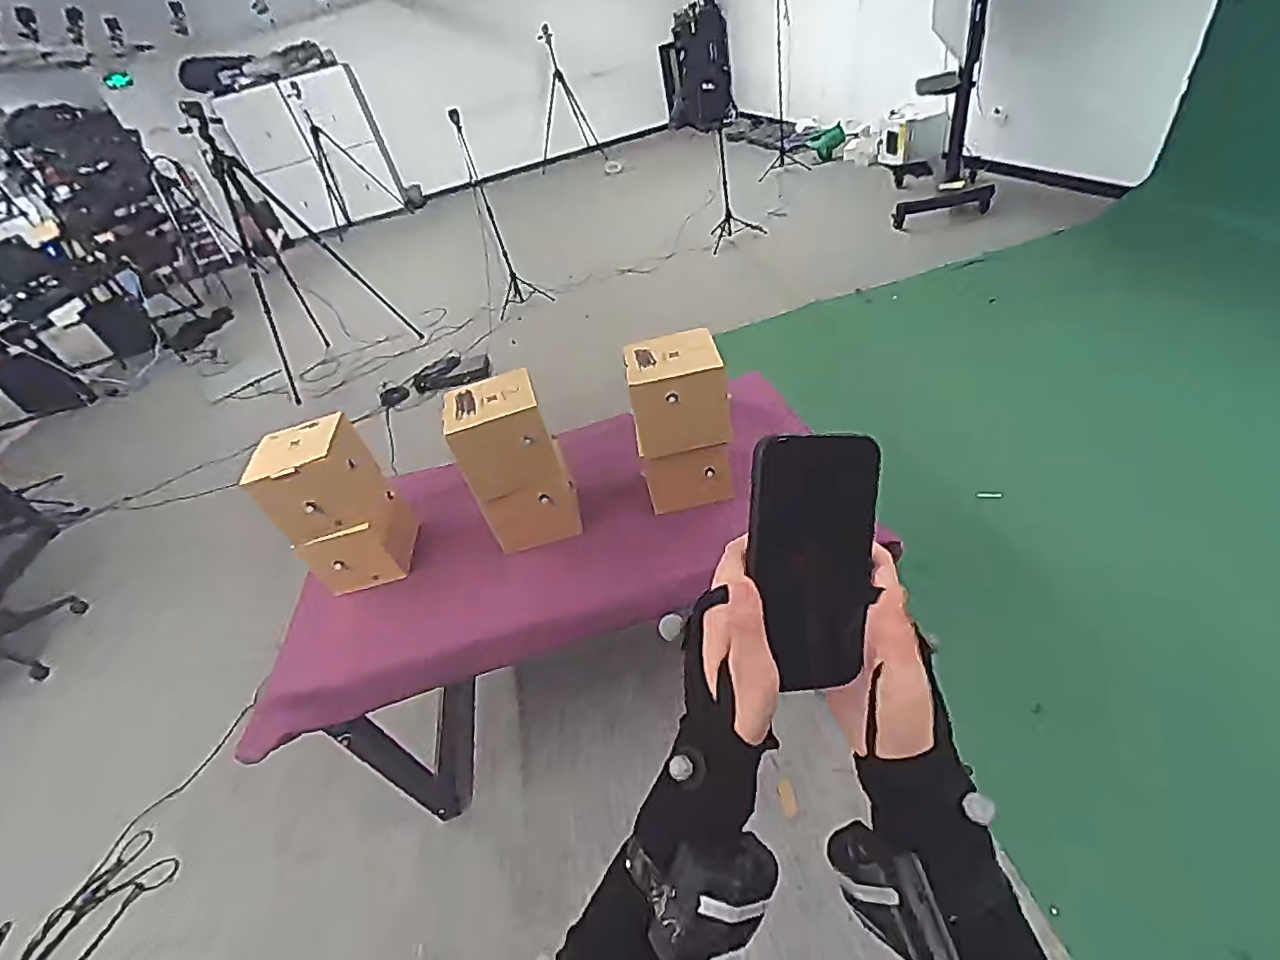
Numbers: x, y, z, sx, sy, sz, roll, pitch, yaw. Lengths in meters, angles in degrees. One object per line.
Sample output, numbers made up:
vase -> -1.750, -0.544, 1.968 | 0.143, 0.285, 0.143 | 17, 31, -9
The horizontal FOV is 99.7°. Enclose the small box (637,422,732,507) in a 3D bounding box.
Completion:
small box -> 0.097, -0.065, 1.167 | 0.179, 0.176, 0.168 | -13, 39, 6

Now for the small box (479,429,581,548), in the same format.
small box -> -0.233, 0.021, 1.178 | 0.179, 0.176, 0.168 | -16, 39, 0

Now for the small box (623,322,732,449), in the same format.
small box -> 0.072, -0.179, 1.051 | 0.179, 0.176, 0.168 | -12, 39, 4

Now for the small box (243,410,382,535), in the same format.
small box -> -0.648, -0.008, 1.099 | 0.168, 0.176, 0.179 | -19, 40, -4

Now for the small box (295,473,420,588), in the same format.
small box -> -0.611, 0.118, 1.197 | 0.168, 0.176, 0.179 | -16, 39, 1
